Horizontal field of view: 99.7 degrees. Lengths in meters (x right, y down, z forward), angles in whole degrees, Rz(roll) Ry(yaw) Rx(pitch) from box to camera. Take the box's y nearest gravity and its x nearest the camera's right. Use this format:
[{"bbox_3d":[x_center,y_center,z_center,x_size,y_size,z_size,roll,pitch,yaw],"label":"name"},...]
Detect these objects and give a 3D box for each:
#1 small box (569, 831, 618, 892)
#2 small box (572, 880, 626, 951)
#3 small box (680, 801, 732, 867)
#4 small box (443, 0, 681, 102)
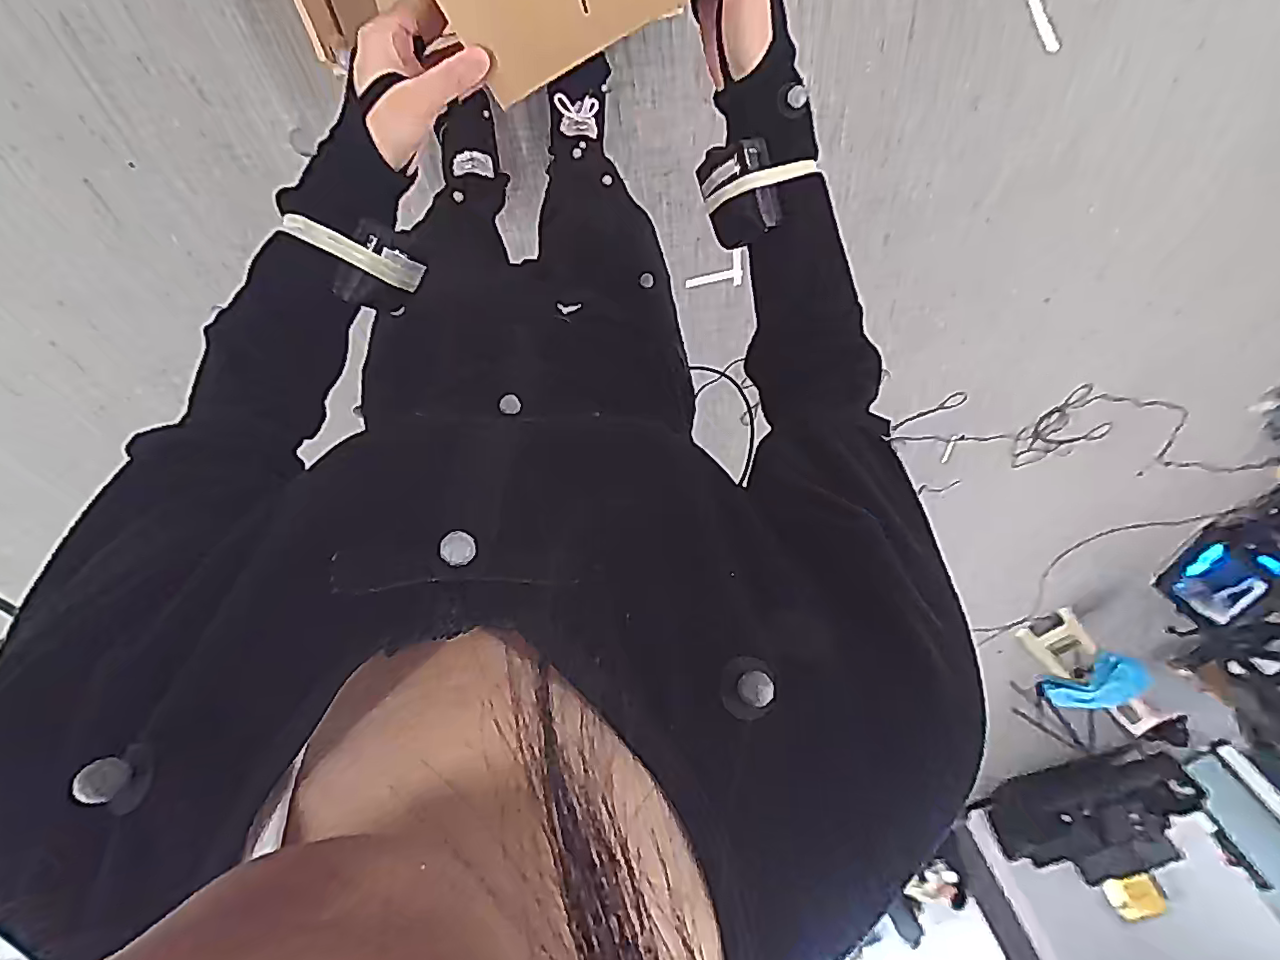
[{"bbox_3d":[-0.190,1.541,2.170,0.179,0.176,0.168,-9,134,-7],"label":"small box"},{"bbox_3d":[-0.157,1.652,2.054,0.179,0.176,0.168,-9,133,-8],"label":"small box"},{"bbox_3d":[0.261,1.433,2.192,0.168,0.176,0.179,-8,132,-9],"label":"small box"},{"bbox_3d":[-0.059,-0.389,0.328,0.168,0.176,0.179,-17,143,19],"label":"small box"}]
